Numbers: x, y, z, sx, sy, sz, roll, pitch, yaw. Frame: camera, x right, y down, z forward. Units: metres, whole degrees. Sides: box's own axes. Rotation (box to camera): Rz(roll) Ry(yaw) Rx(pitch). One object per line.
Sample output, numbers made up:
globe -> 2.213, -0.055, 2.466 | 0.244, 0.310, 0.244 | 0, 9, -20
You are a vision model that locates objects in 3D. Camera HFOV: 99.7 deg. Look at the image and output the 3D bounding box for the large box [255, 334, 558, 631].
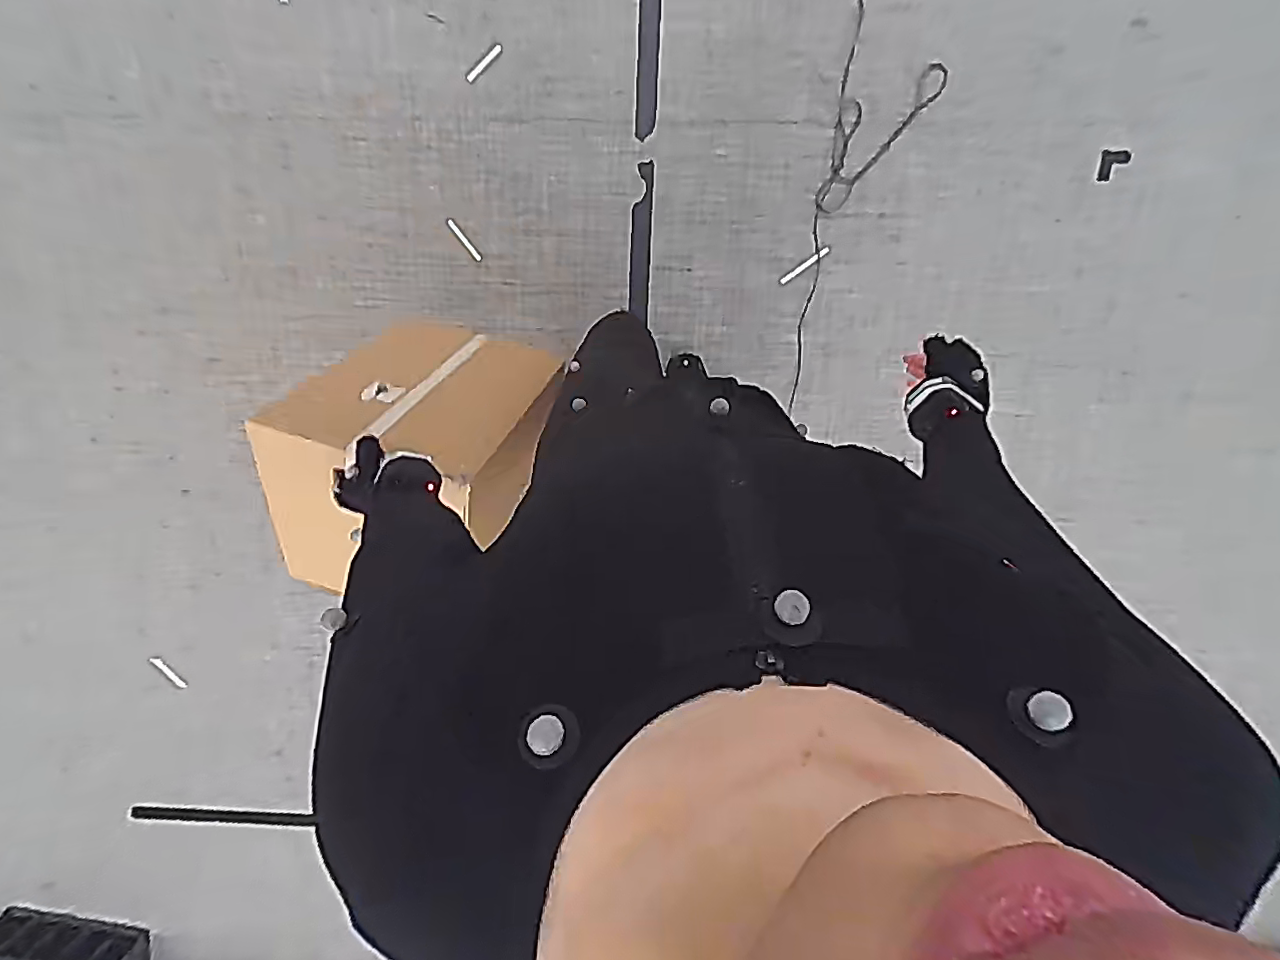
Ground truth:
large box -> -0.361, -0.015, 0.962 | 0.320, 0.408, 0.320 | 14, 127, 4
